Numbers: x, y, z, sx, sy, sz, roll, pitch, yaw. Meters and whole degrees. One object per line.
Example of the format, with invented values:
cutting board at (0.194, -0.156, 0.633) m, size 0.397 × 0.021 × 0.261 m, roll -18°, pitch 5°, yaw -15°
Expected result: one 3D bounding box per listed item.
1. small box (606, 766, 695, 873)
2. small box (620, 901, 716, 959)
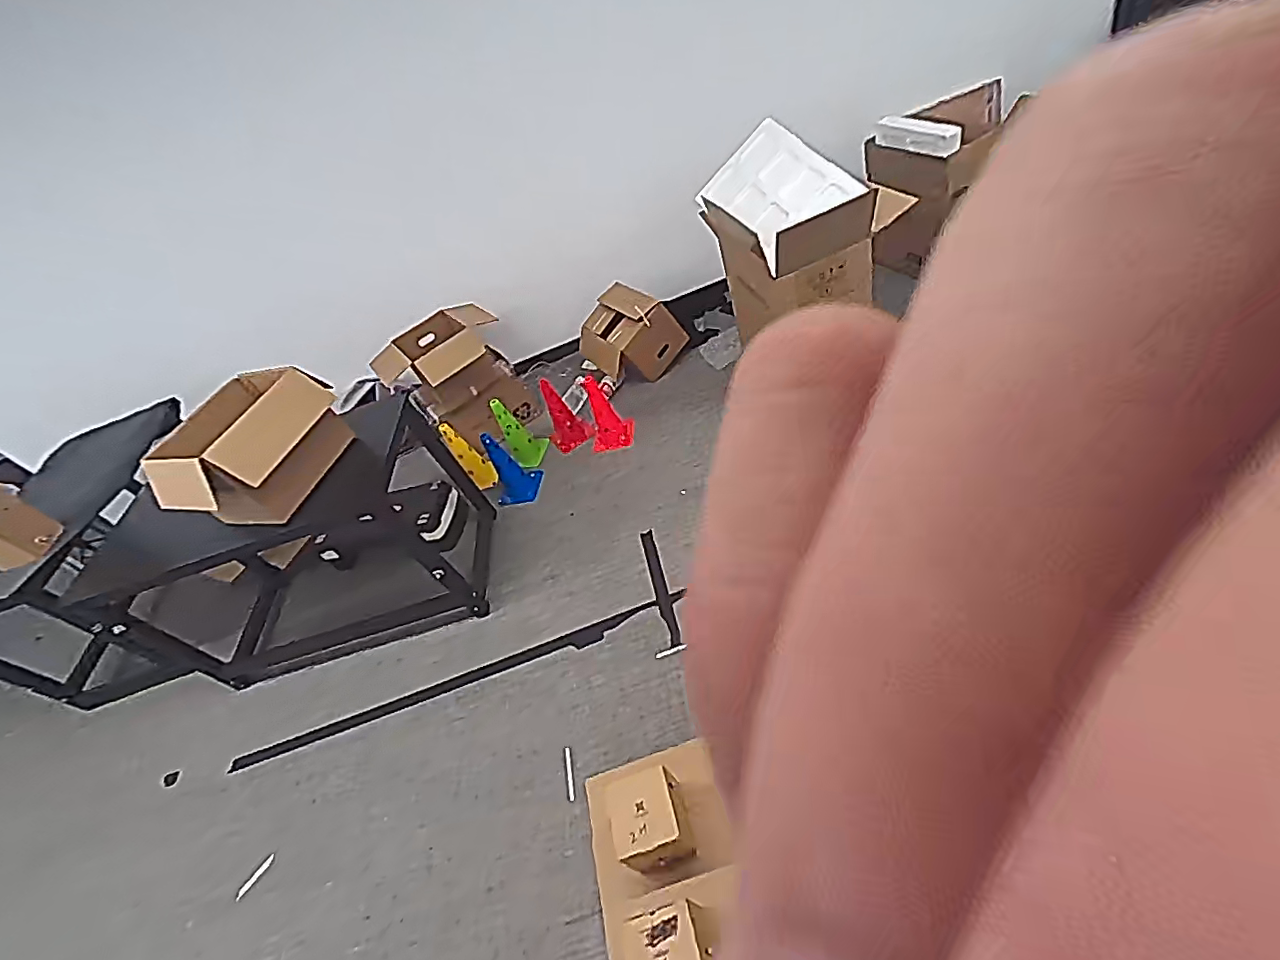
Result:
small box at (0.027, 0.885, 1.407) m, size 0.168 × 0.176 × 0.179 m, roll -23°, pitch 43°, yaw 3°
small box at (0.073, 1.078, 1.201) m, size 0.168 × 0.176 × 0.179 m, roll -23°, pitch 44°, yaw 3°
